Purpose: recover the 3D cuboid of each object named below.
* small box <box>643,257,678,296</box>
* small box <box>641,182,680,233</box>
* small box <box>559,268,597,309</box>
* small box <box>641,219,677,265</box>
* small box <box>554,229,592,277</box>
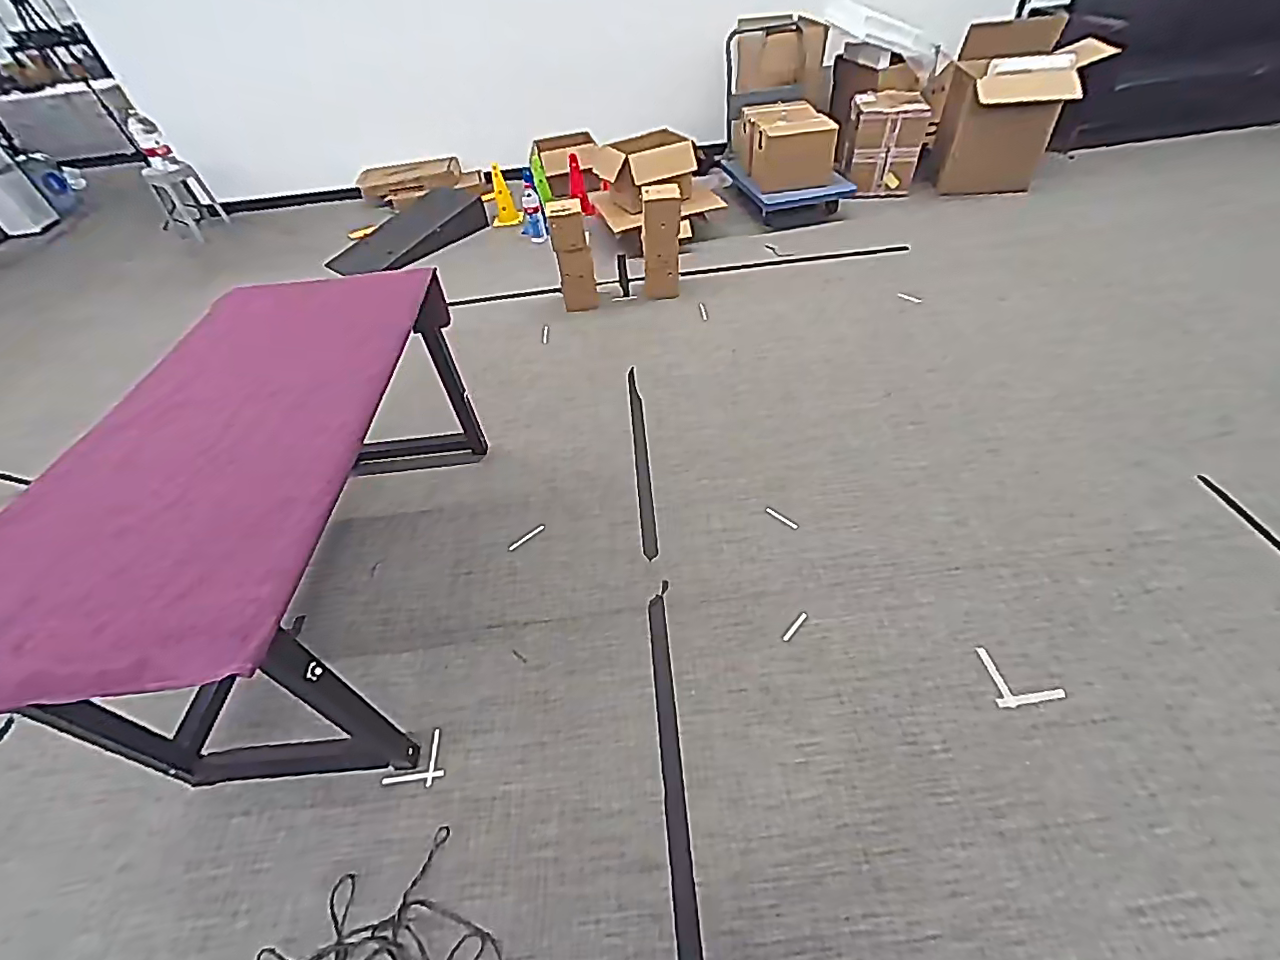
[{"bbox_3d":[0.108,-1.085,2.837,0.179,0.176,0.168,-3,47,2],"label":"small box"},{"bbox_3d":[0.096,-1.309,2.600,0.179,0.176,0.168,-4,48,0],"label":"small box"},{"bbox_3d":[-0.323,-1.014,2.817,0.179,0.176,0.168,-9,46,-1],"label":"small box"},{"bbox_3d":[0.095,-1.204,2.726,0.168,0.176,0.179,-6,48,-1],"label":"small box"},{"bbox_3d":[-0.330,-1.125,2.697,0.168,0.176,0.179,-6,46,0],"label":"small box"}]
